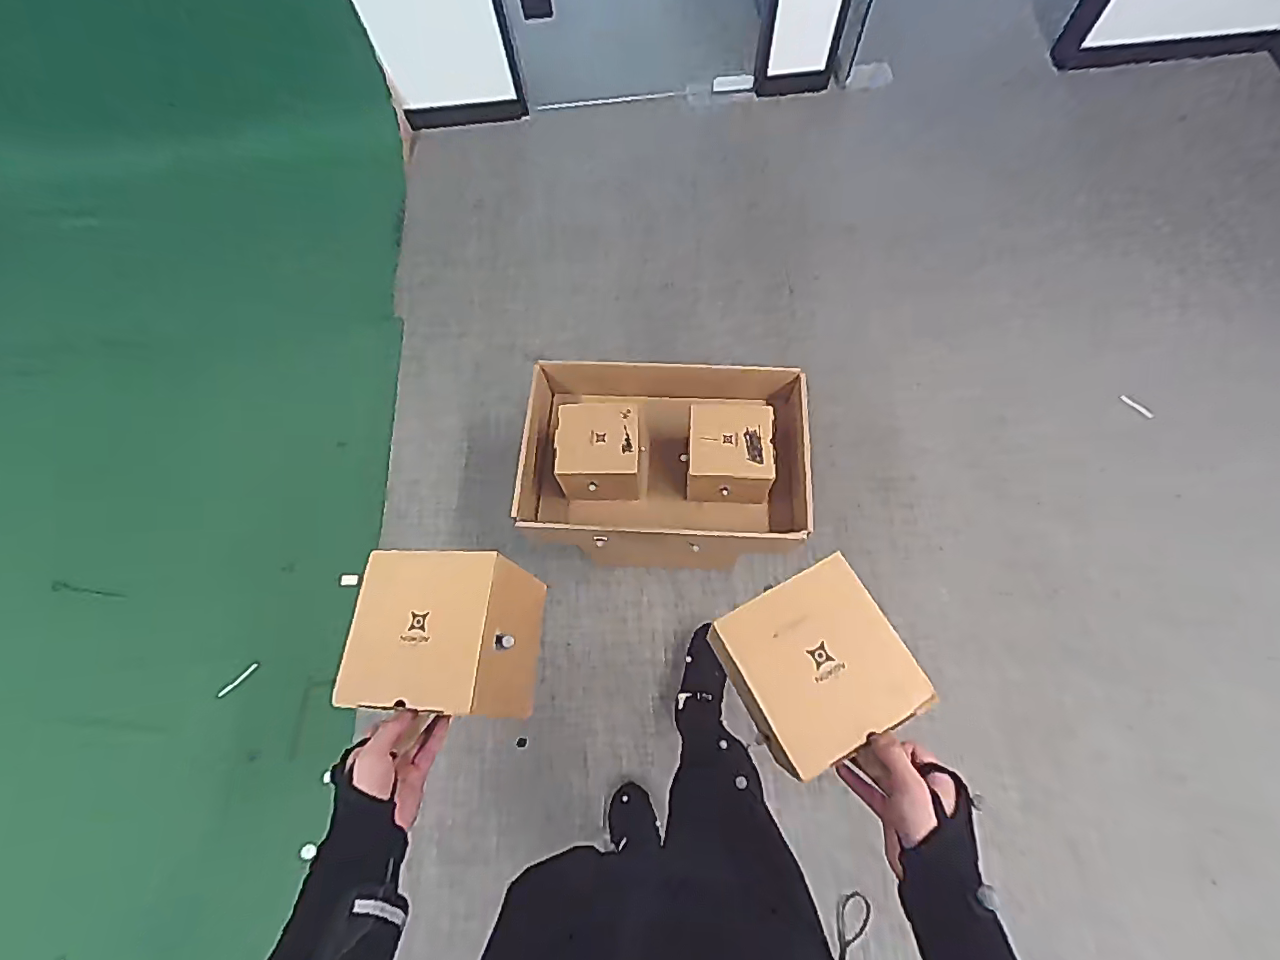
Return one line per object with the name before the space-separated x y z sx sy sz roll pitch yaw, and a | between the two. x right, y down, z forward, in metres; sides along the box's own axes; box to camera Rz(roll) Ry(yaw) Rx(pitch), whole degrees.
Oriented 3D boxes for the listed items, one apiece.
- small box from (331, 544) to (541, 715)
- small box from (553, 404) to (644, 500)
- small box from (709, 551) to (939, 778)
small box | -0.231 0.188 0.665 0.168 0.176 0.179 -1 67 10
small box | -0.085 -0.057 1.201 0.179 0.176 0.168 0 69 4
small box | 0.193 0.209 0.628 0.168 0.176 0.179 -26 68 -7
